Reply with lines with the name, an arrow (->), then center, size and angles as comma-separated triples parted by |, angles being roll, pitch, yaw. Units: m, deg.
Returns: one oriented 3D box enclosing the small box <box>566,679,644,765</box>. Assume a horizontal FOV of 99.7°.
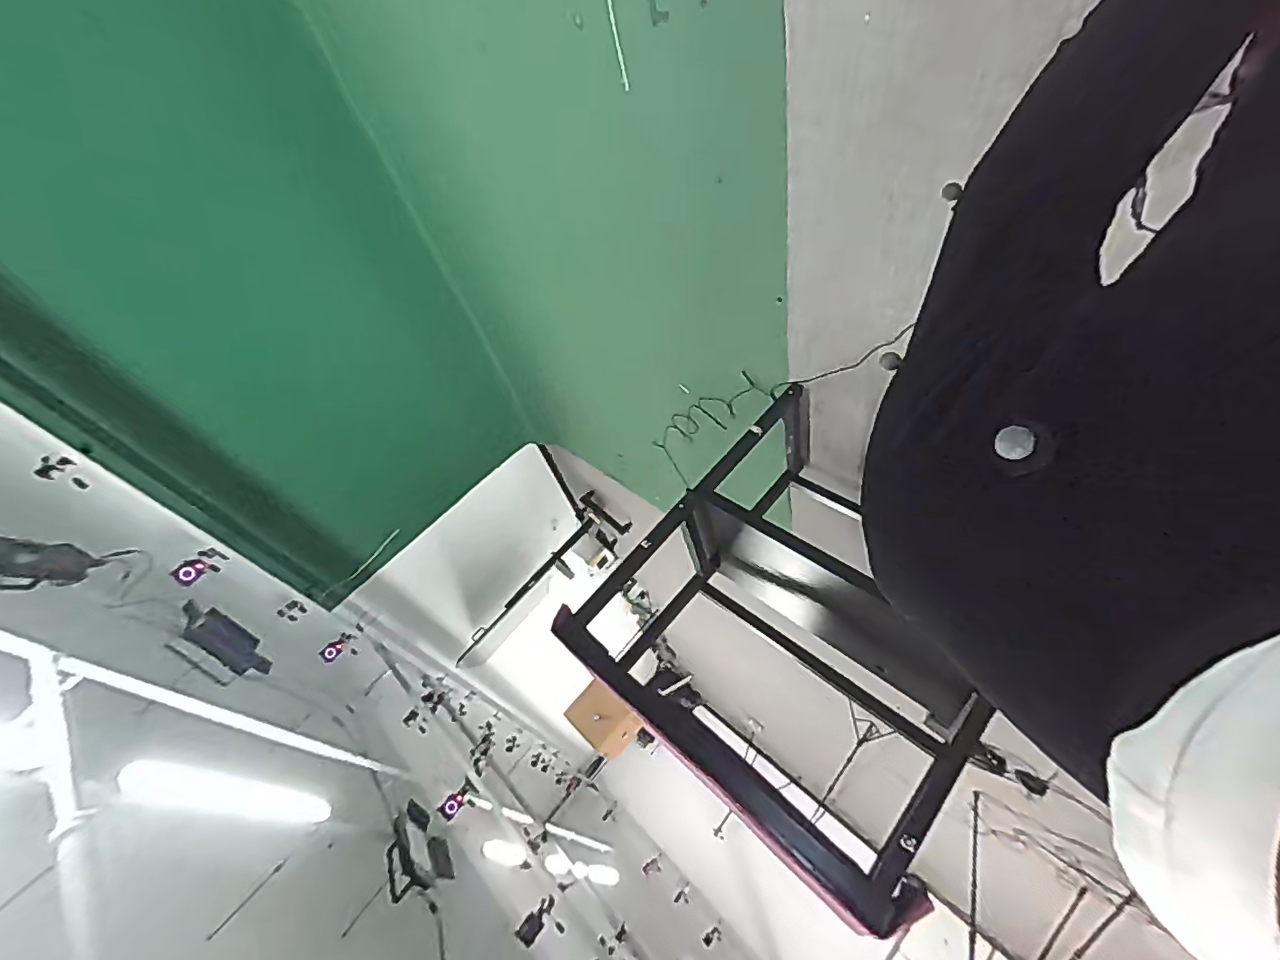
small box -> -0.104, 0.787, 1.767 | 0.179, 0.176, 0.168 | 29, 154, 34
